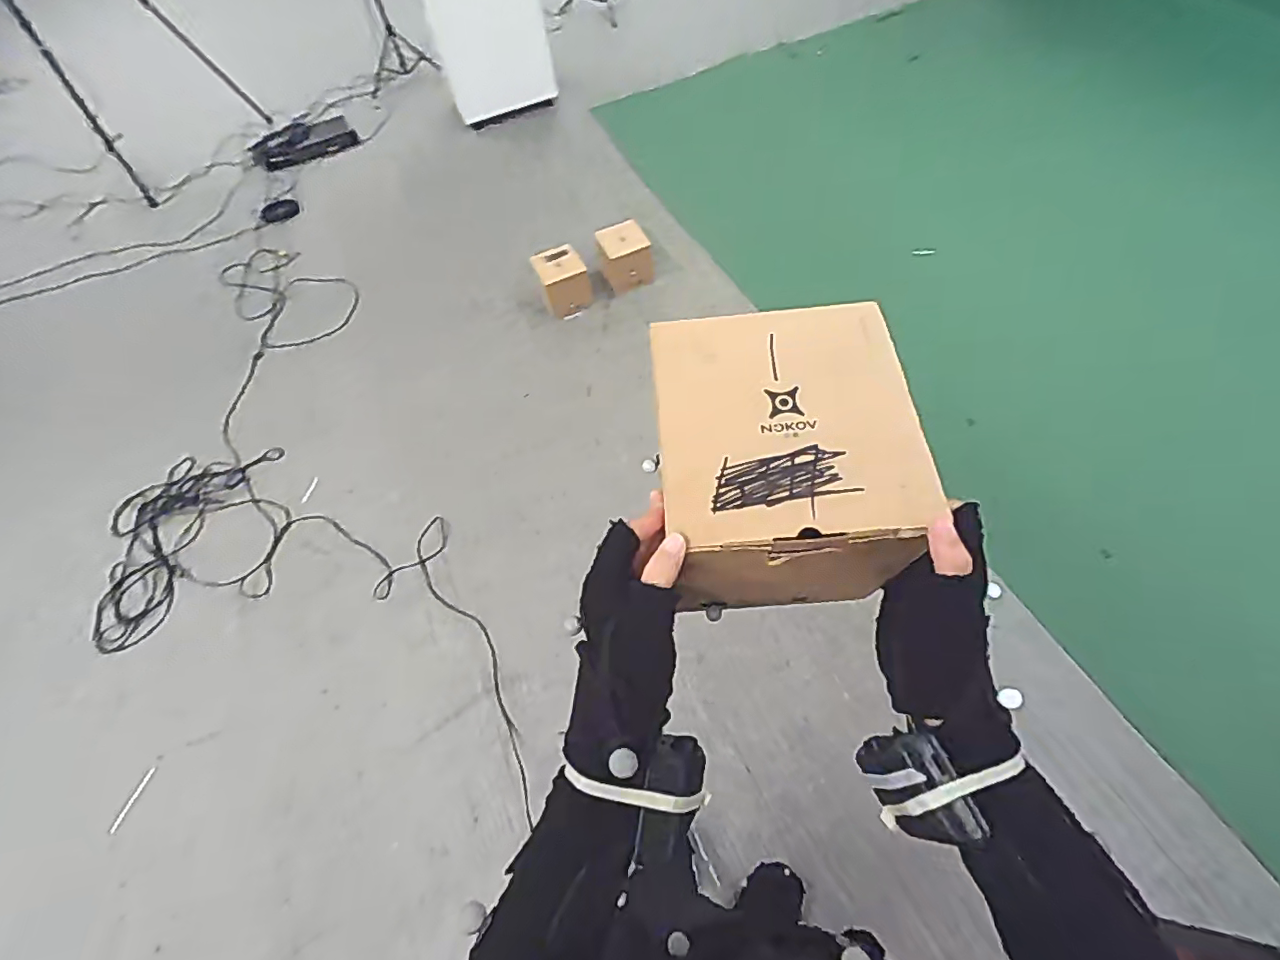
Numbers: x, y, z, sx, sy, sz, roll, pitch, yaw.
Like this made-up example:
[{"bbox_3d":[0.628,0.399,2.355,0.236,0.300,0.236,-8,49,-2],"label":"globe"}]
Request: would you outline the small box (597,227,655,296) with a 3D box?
[{"bbox_3d":[-0.051,-0.837,2.093,0.168,0.176,0.179,-24,60,-9],"label":"small box"}]
